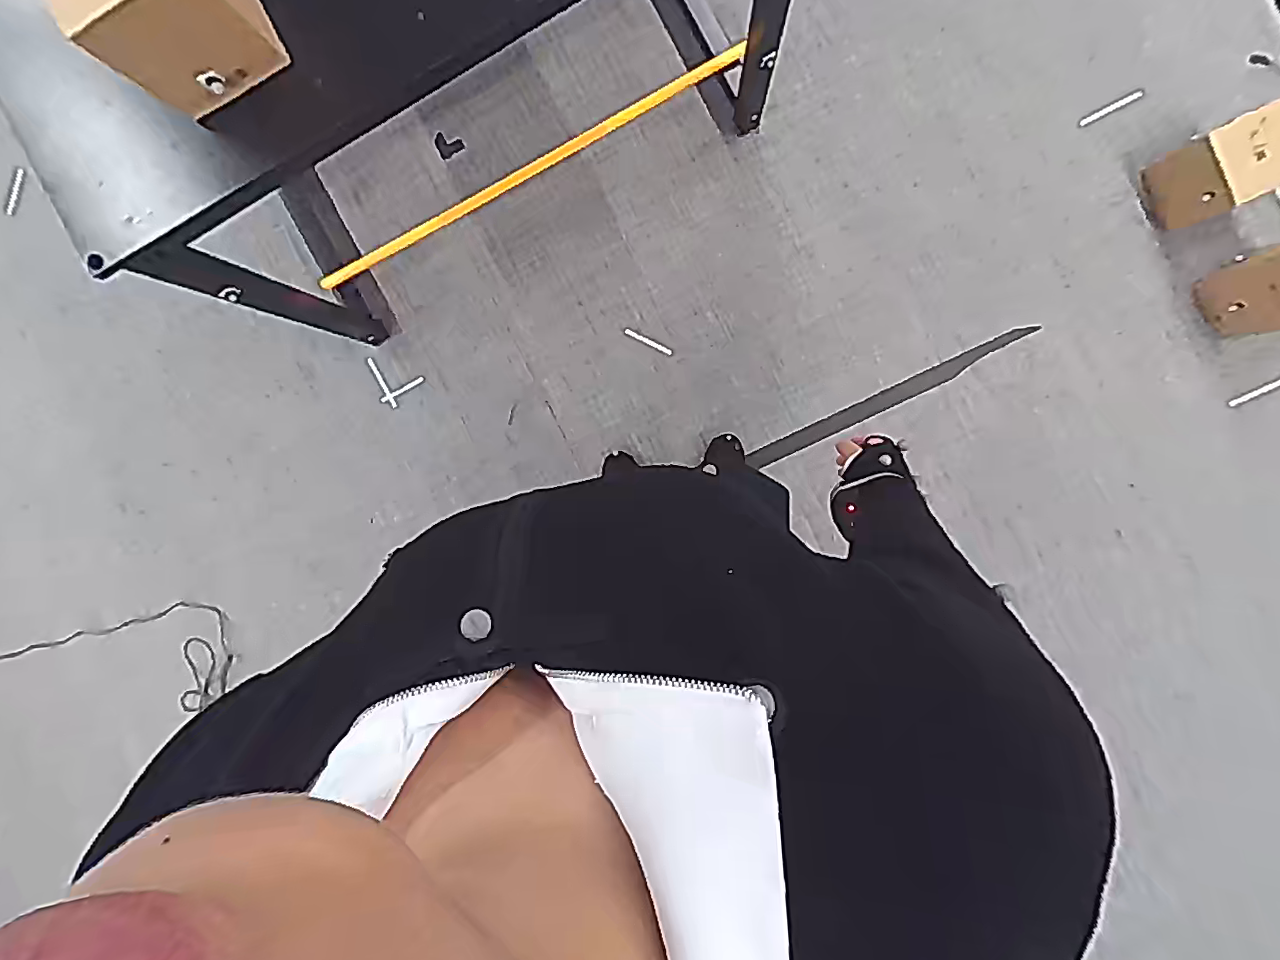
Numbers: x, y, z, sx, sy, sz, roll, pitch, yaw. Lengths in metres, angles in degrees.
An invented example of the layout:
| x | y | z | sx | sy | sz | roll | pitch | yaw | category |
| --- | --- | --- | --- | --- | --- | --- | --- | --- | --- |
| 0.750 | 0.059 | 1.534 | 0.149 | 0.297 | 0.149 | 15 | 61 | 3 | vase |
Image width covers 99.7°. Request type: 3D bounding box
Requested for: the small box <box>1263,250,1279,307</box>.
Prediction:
| x | y | z | sx | sy | sz | roll | pitch | yaw | category |
| --- | --- | --- | --- | --- | --- | --- | --- | --- | --- |
| 1.464 | -0.440 | 1.106 | 0.168 | 0.176 | 0.179 | -29 | 93 | 5 | small box |

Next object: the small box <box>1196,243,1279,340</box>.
| x | y | z | sx | sy | sz | roll | pitch | yaw | category |
| --- | --- | --- | --- | --- | --- | --- | --- | --- | --- |
| 1.481 | -0.450 | 1.271 | 0.179 | 0.176 | 0.168 | -29 | 92 | 6 | small box |

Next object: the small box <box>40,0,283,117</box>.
| x | y | z | sx | sy | sz | roll | pitch | yaw | category |
| --- | --- | --- | --- | --- | --- | --- | --- | --- | --- |
| -0.594 | -0.602 | 0.659 | 0.168 | 0.176 | 0.179 | -27 | 93 | 6 | small box |

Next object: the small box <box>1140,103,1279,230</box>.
| x | y | z | sx | sy | sz | roll | pitch | yaw | category |
| --- | --- | --- | --- | --- | --- | --- | --- | --- | --- |
| 1.337 | -0.711 | 1.256 | 0.168 | 0.176 | 0.179 | -25 | 92 | 5 | small box |
